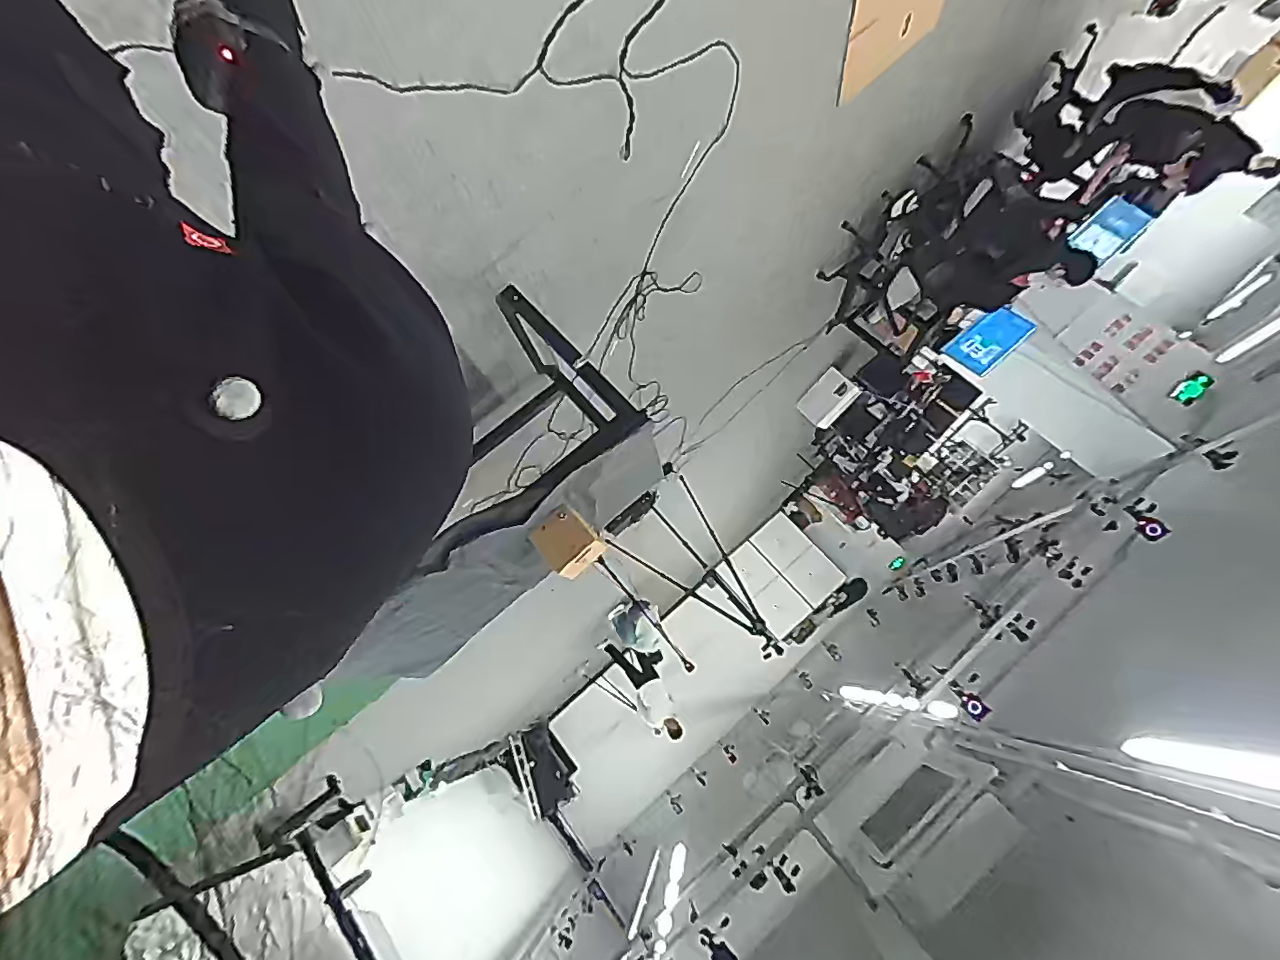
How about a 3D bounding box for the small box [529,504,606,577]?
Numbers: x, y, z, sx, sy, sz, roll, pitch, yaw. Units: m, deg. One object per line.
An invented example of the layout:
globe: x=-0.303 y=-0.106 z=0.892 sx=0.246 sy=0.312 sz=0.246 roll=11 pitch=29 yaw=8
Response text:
small box: x=-0.243 y=0.202 z=1.816 sx=0.168 sy=0.176 sz=0.179 roll=-41 pitch=162 yaw=-3
